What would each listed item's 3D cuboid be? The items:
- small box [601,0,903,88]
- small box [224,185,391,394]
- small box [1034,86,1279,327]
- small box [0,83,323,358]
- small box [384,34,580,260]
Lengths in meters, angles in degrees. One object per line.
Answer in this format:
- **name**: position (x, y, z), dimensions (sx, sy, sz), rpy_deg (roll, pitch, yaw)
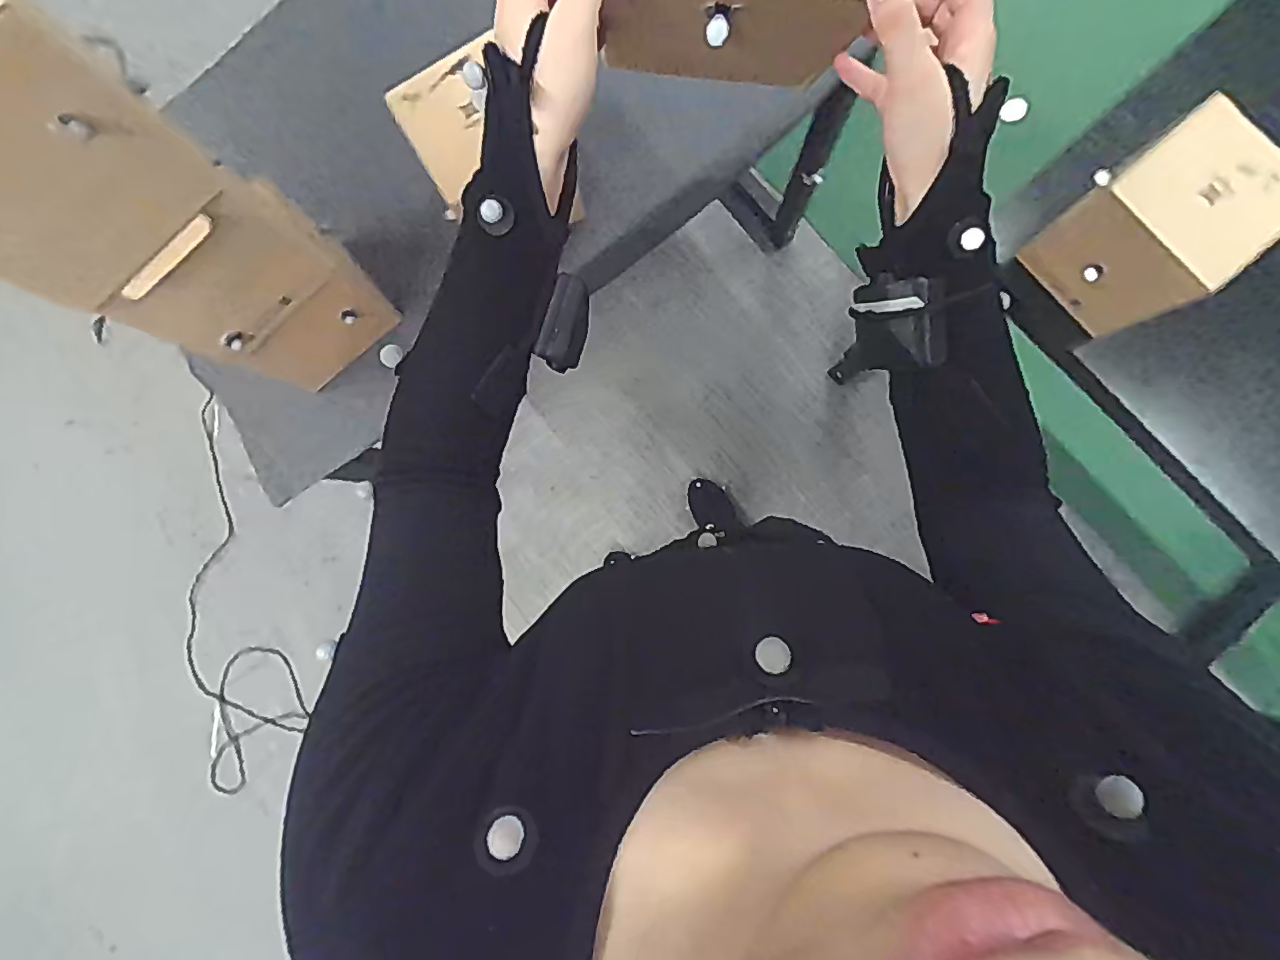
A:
- **small box**: position (0.070, -0.375, 0.344), dimensions (0.179, 0.176, 0.168), rpy_deg (6, 111, -1)
- **small box**: position (-0.477, -0.247, 0.743), dimensions (0.179, 0.176, 0.168), rpy_deg (-42, 83, 0)
- **small box**: position (0.654, -0.326, 0.686), dimensions (0.179, 0.176, 0.168), rpy_deg (-41, 86, 0)
- **small box**: position (-0.493, -0.253, 0.579), dimensions (0.179, 0.176, 0.168), rpy_deg (44, 89, 8)
- **small box**: position (-0.200, -0.432, 0.739), dimensions (0.168, 0.176, 0.179), rpy_deg (-31, 85, 1)
